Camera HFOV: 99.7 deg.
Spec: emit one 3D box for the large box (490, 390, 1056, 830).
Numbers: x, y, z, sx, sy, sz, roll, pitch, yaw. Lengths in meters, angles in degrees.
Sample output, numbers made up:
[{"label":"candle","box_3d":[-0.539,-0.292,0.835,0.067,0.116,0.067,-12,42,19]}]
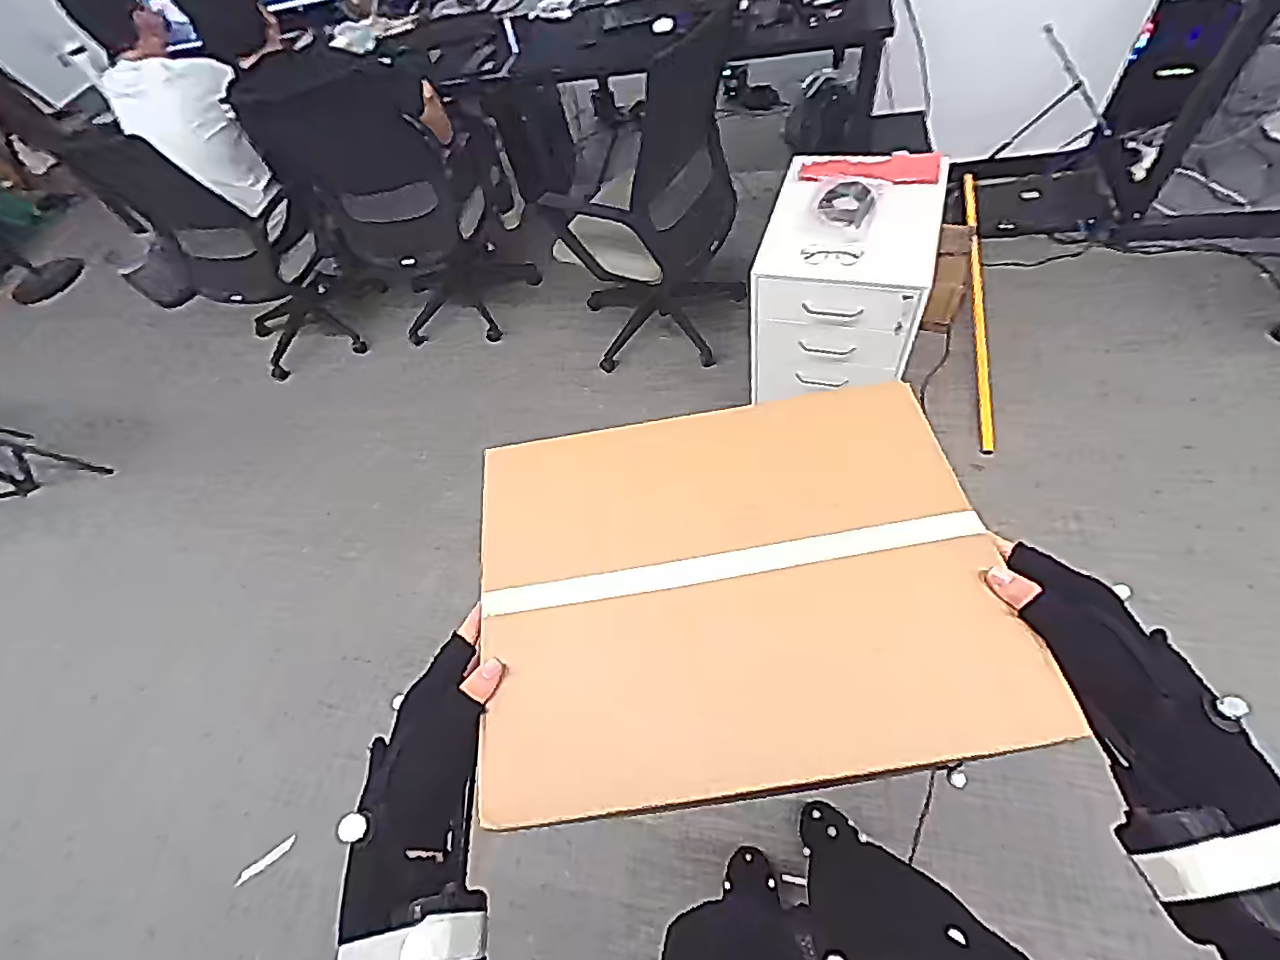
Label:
[{"label":"large box","box_3d":[0.089,0.151,0.575,0.408,0.320,0.320,-10,58,1]}]
